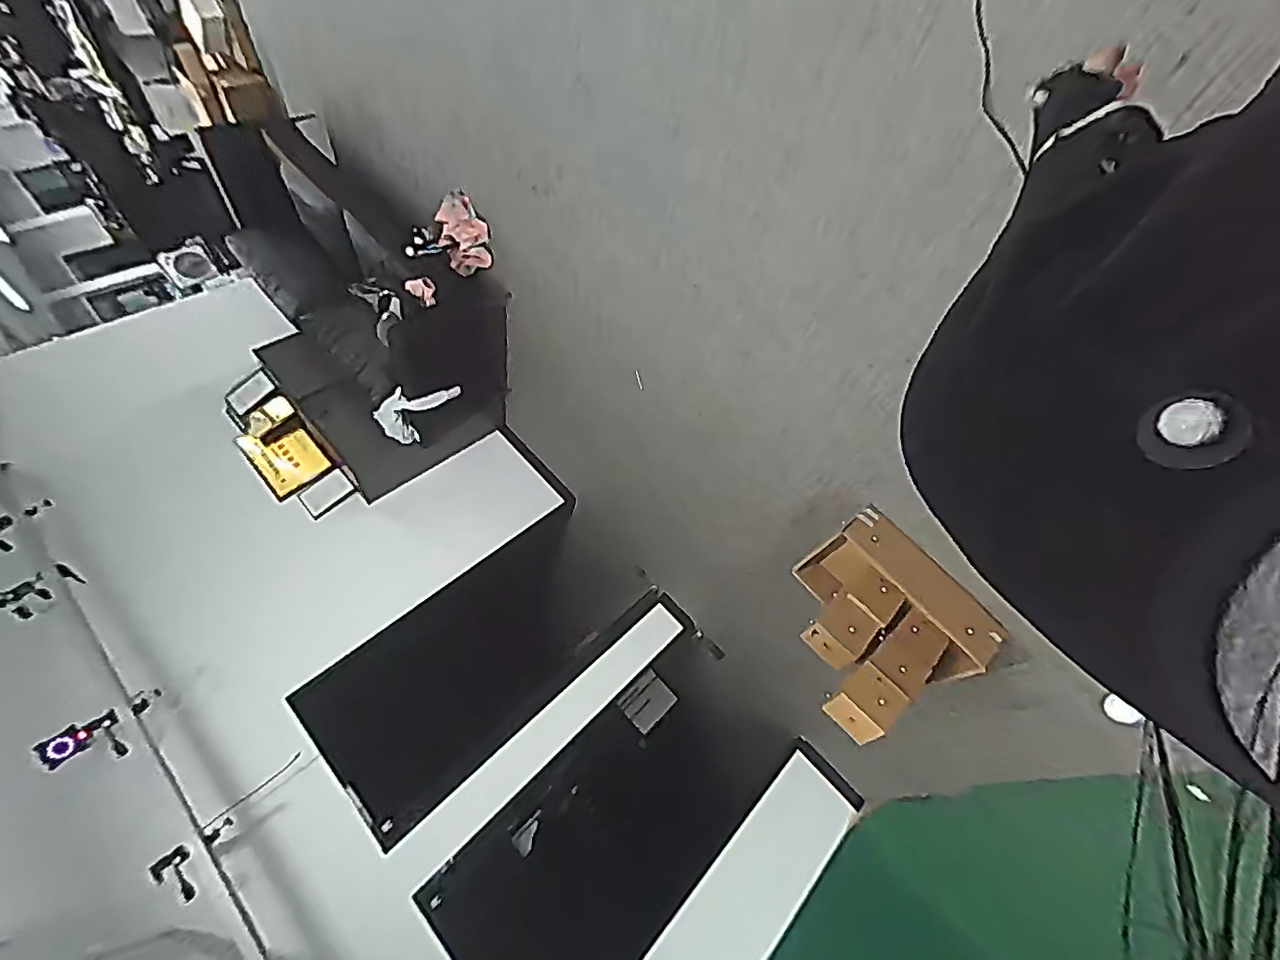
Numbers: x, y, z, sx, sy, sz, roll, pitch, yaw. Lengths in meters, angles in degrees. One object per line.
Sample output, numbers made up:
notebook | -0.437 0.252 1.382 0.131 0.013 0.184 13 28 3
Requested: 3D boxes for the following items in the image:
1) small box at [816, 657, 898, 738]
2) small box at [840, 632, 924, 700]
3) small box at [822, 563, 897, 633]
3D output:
small box | 0.739 0.732 1.829 0.168 0.176 0.179 43 148 20
small box | 0.859 0.664 1.917 0.179 0.176 0.168 44 148 17
small box | 0.838 0.448 2.055 0.168 0.176 0.179 45 149 12
